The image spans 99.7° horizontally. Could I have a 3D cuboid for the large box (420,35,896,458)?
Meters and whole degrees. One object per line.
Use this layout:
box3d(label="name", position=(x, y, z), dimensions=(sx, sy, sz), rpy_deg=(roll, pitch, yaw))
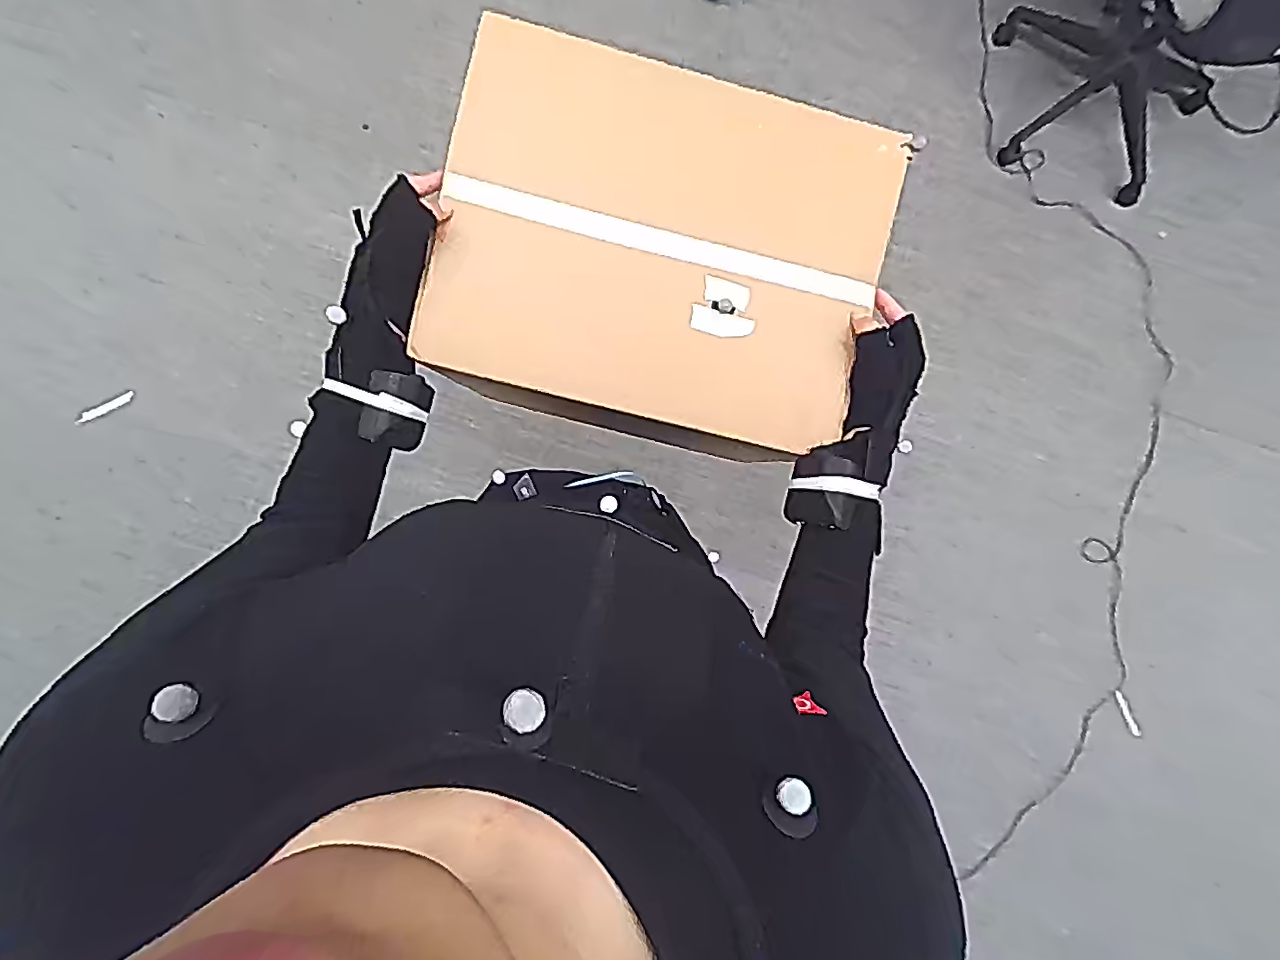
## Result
box3d(label="large box", position=(0.009, -0.219, 0.653), dimensions=(0.408, 0.320, 0.320), rpy_deg=(14, 92, -5))
